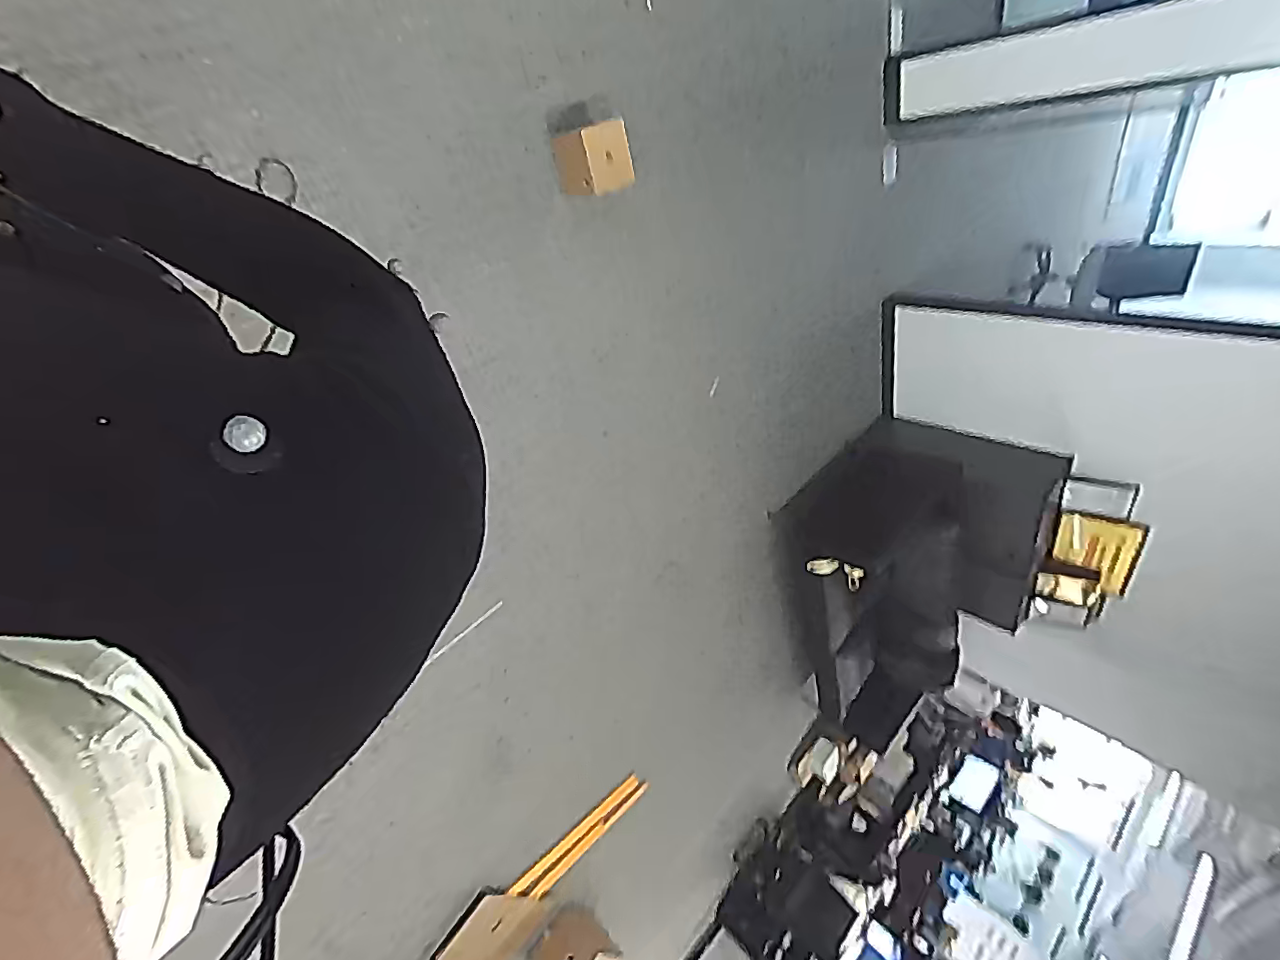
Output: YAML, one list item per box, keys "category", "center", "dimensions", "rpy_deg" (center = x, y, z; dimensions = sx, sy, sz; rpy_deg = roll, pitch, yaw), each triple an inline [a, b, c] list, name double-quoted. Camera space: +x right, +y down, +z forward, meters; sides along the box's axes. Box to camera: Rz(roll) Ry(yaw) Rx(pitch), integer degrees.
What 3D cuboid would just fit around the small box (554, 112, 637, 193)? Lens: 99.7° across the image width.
- category: "small box"
  center: [-0.137, -0.991, 1.647]
  dimensions: [0.168, 0.176, 0.179]
  rpy_deg: [-36, 131, -26]
